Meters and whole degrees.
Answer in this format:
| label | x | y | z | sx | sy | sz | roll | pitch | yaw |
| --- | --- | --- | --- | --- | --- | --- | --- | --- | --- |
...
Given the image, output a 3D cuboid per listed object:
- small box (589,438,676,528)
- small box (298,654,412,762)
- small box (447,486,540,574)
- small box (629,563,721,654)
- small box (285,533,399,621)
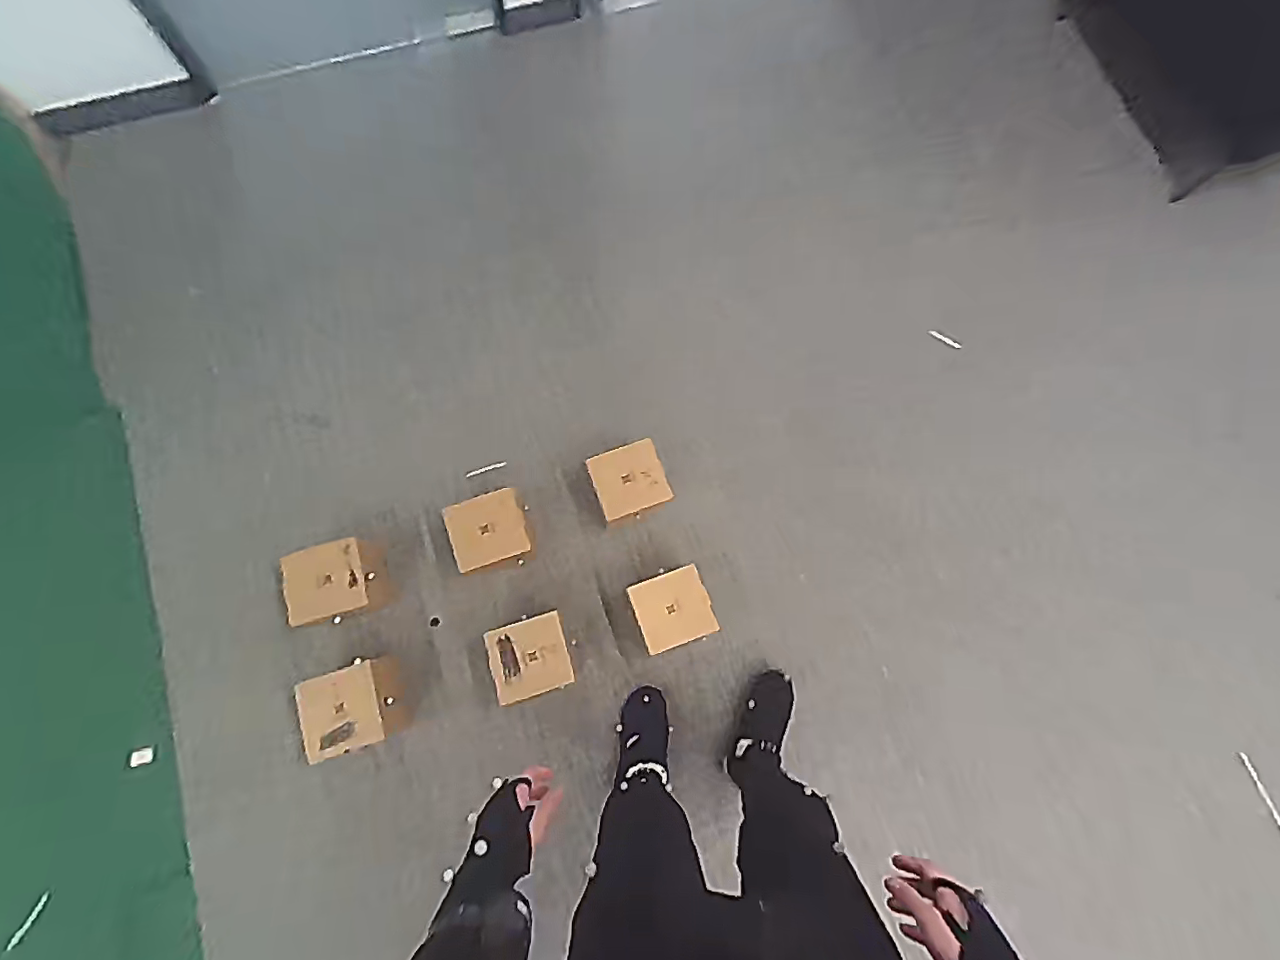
| label | x | y | z | sx | sy | sz | roll | pitch | yaw |
| --- | --- | --- | --- | --- | --- | --- | --- | --- | --- |
| small box | -0.022 | 0.015 | 1.398 | 0.179 | 0.176 | 0.168 | -19 | 79 | -7 |
| small box | -0.648 | 0.514 | 1.248 | 0.168 | 0.176 | 0.179 | -16 | 77 | -7 |
| small box | -0.358 | 0.130 | 1.356 | 0.179 | 0.176 | 0.168 | -18 | 77 | -6 |
| small box | 0.078 | 0.318 | 1.333 | 0.179 | 0.176 | 0.168 | -19 | 78 | -8 |
| small box | -0.716 | 0.240 | 1.312 | 0.179 | 0.176 | 0.168 | -15 | 78 | -5 |
